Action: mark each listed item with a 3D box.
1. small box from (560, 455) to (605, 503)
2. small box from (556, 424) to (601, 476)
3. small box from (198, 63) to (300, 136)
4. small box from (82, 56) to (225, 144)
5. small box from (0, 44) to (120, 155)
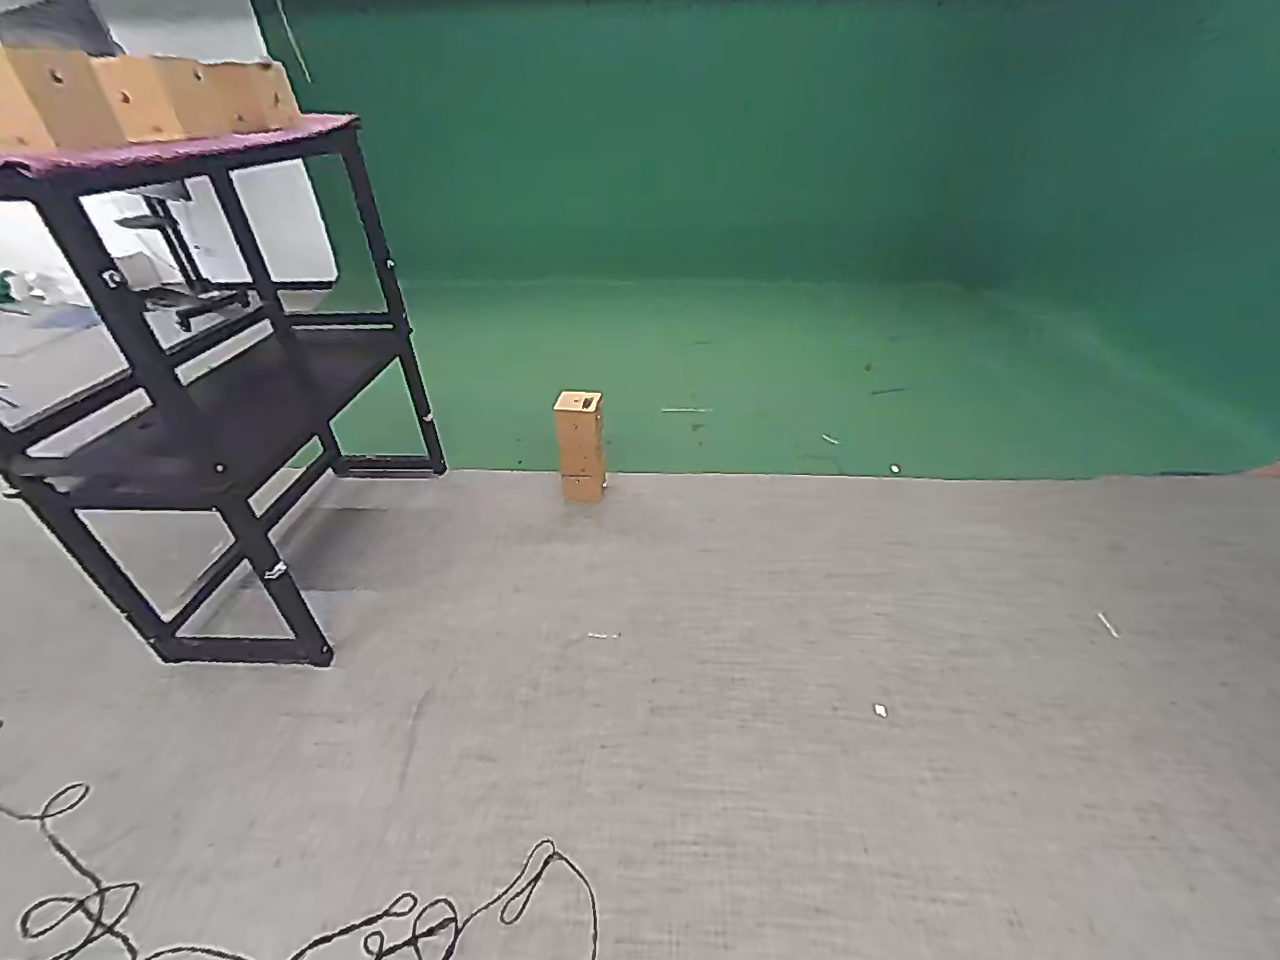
[{"bbox_3d":[-0.264,-0.006,2.510,0.179,0.176,0.168,3,36,5],"label":"small box"},{"bbox_3d":[-0.268,-0.133,2.409,0.168,0.176,0.179,3,36,4],"label":"small box"},{"bbox_3d":[-1.189,-1.161,1.648,0.179,0.176,0.168,3,37,10],"label":"small box"},{"bbox_3d":[-1.202,-0.948,1.356,0.168,0.176,0.179,-1,35,4],"label":"small box"},{"bbox_3d":[-1.197,-0.740,1.058,0.168,0.176,0.179,1,35,2],"label":"small box"}]
